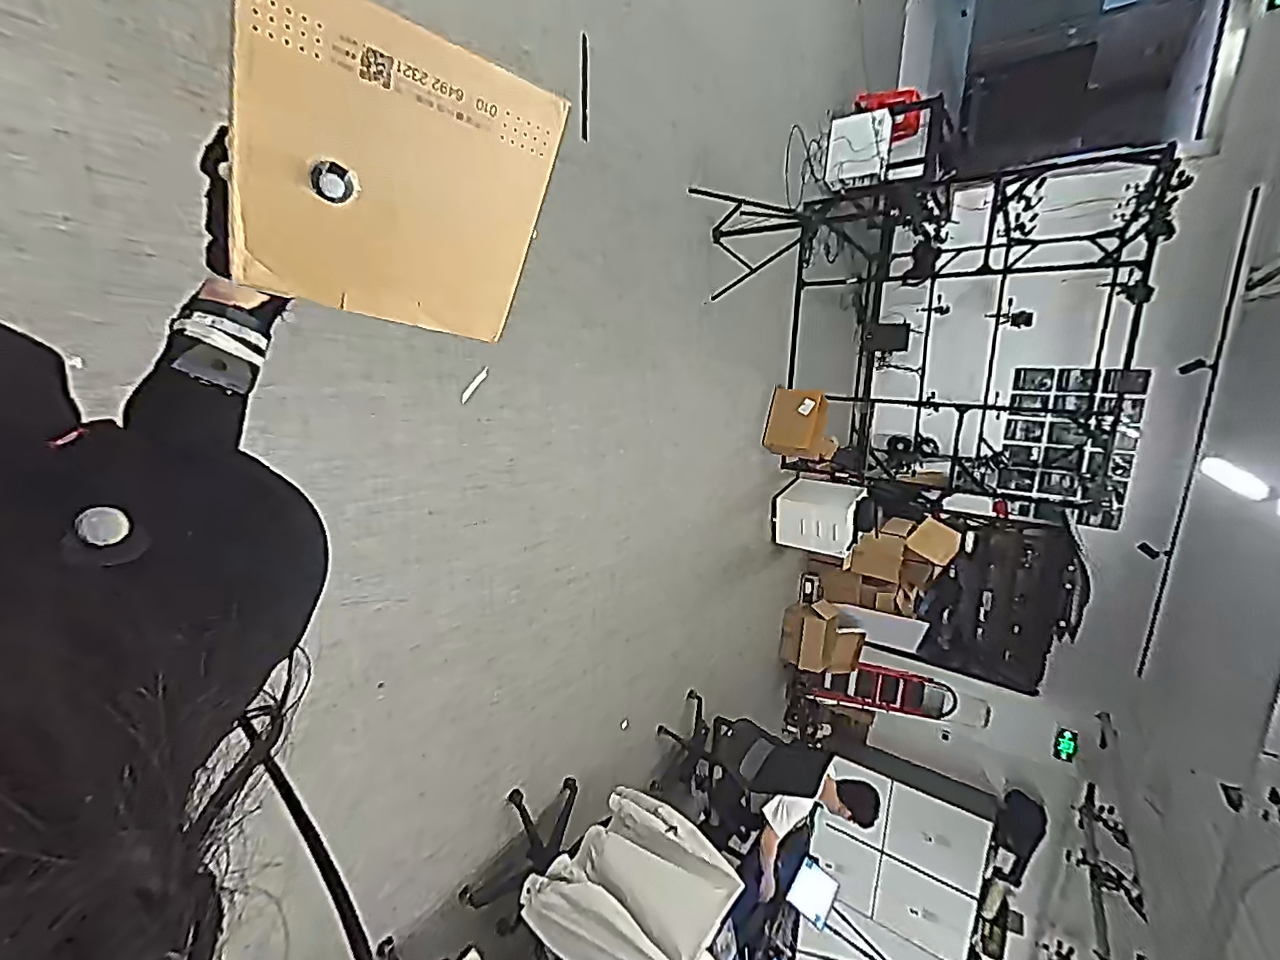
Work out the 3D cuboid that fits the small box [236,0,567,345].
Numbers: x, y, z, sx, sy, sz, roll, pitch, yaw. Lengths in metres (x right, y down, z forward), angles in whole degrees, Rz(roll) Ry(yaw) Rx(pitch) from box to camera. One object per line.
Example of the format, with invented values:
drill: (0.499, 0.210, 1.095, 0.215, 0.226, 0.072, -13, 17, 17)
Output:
small box: (-0.166, -0.223, 0.373, 0.168, 0.179, 0.176, 8, 126, -33)
